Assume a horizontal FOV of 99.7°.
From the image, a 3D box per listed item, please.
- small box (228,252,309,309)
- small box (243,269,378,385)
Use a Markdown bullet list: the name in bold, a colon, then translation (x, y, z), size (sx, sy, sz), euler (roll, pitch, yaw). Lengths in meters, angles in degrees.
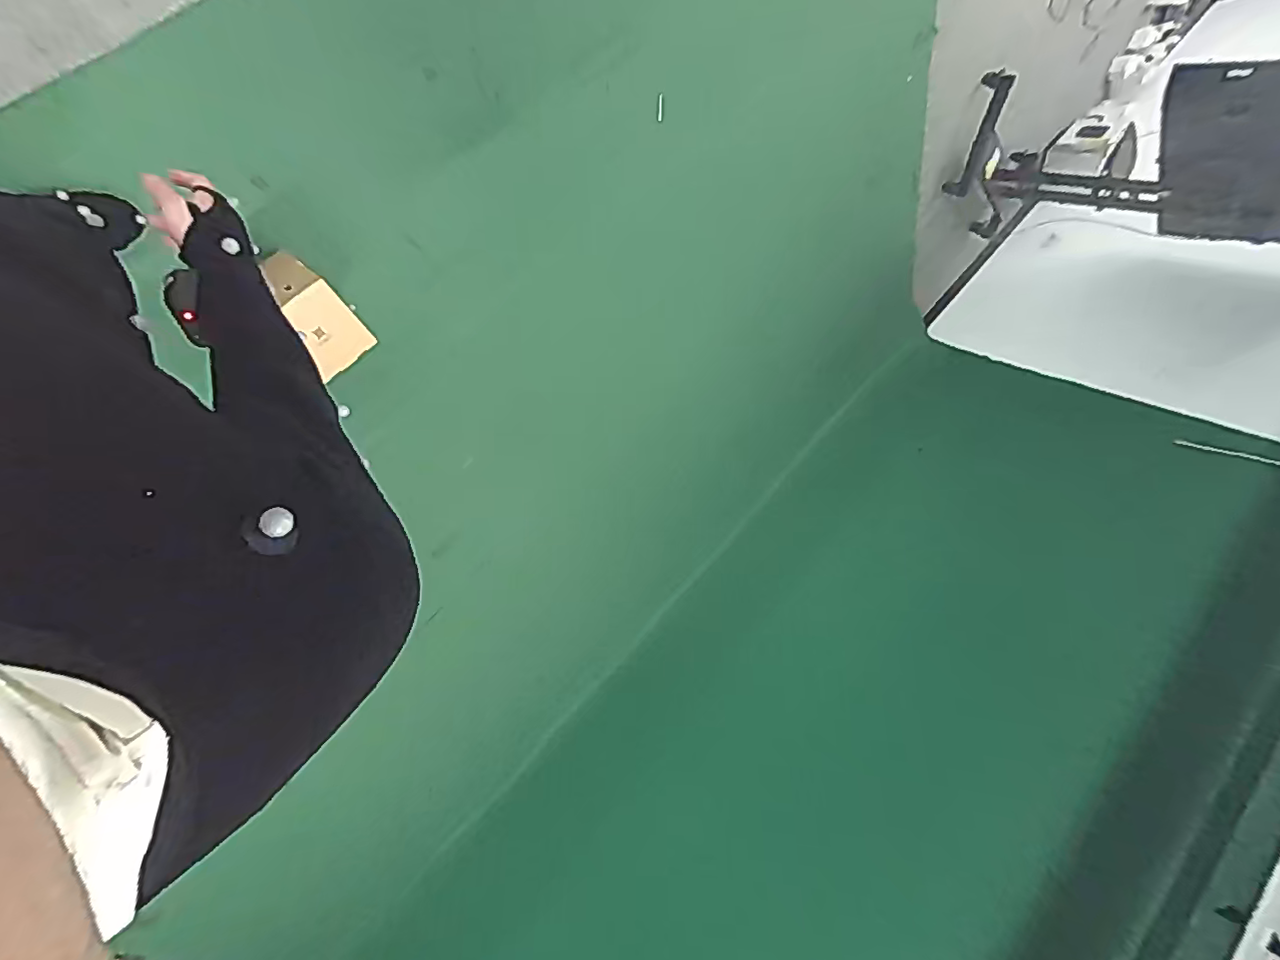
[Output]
- **small box**: translation (-0.842, -0.421, 1.306), size (0.168, 0.176, 0.179), euler (-46, 141, -14)
- **small box**: translation (-0.737, -0.347, 1.207), size (0.168, 0.176, 0.179), euler (-46, 143, -14)
